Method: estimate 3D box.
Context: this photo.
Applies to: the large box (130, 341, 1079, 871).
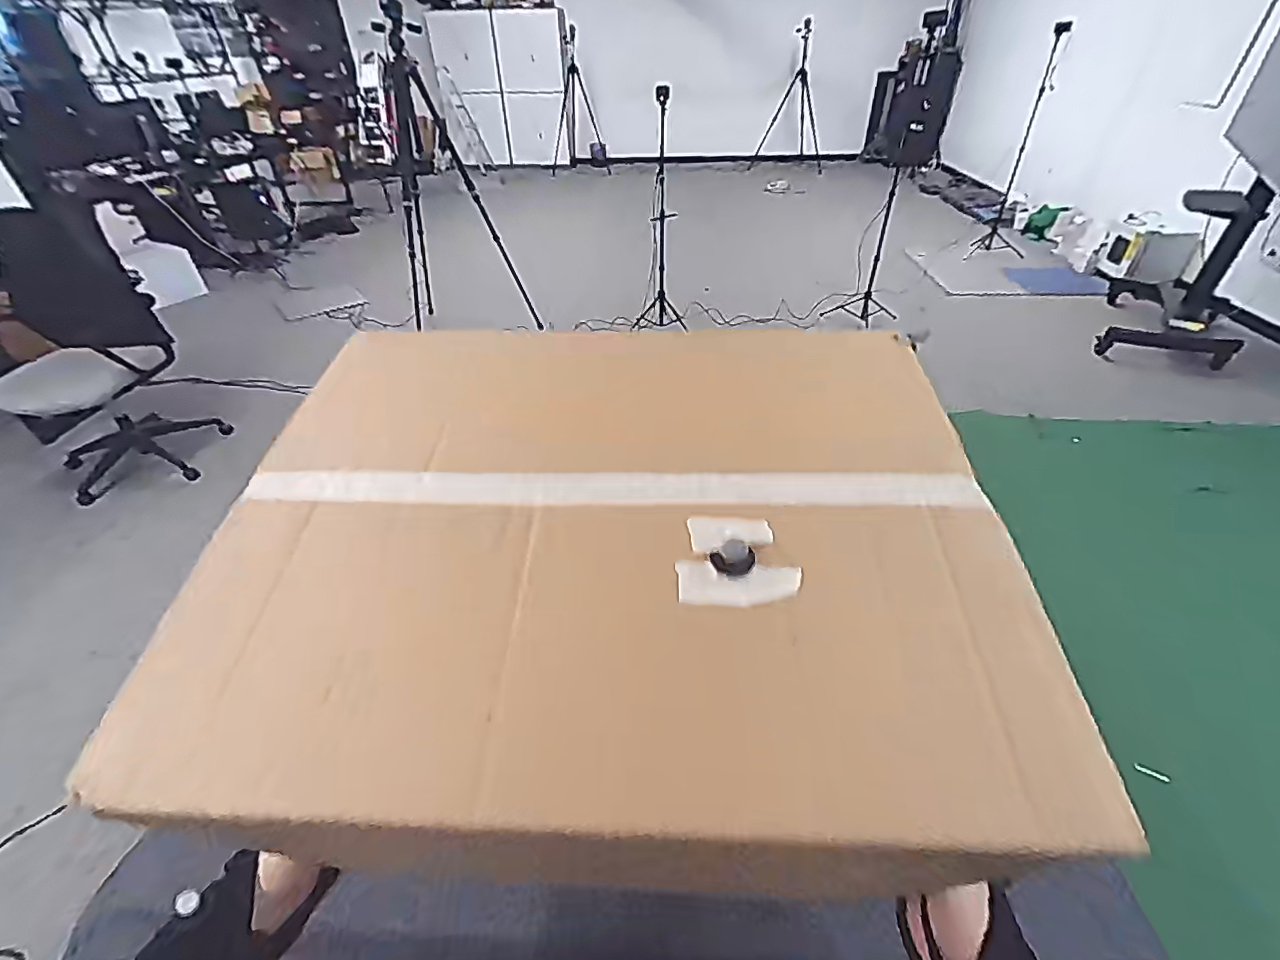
[{"bbox_3d":[-0.014,0.108,0.430,0.408,0.320,0.320,0,51,2],"label":"large box"}]
